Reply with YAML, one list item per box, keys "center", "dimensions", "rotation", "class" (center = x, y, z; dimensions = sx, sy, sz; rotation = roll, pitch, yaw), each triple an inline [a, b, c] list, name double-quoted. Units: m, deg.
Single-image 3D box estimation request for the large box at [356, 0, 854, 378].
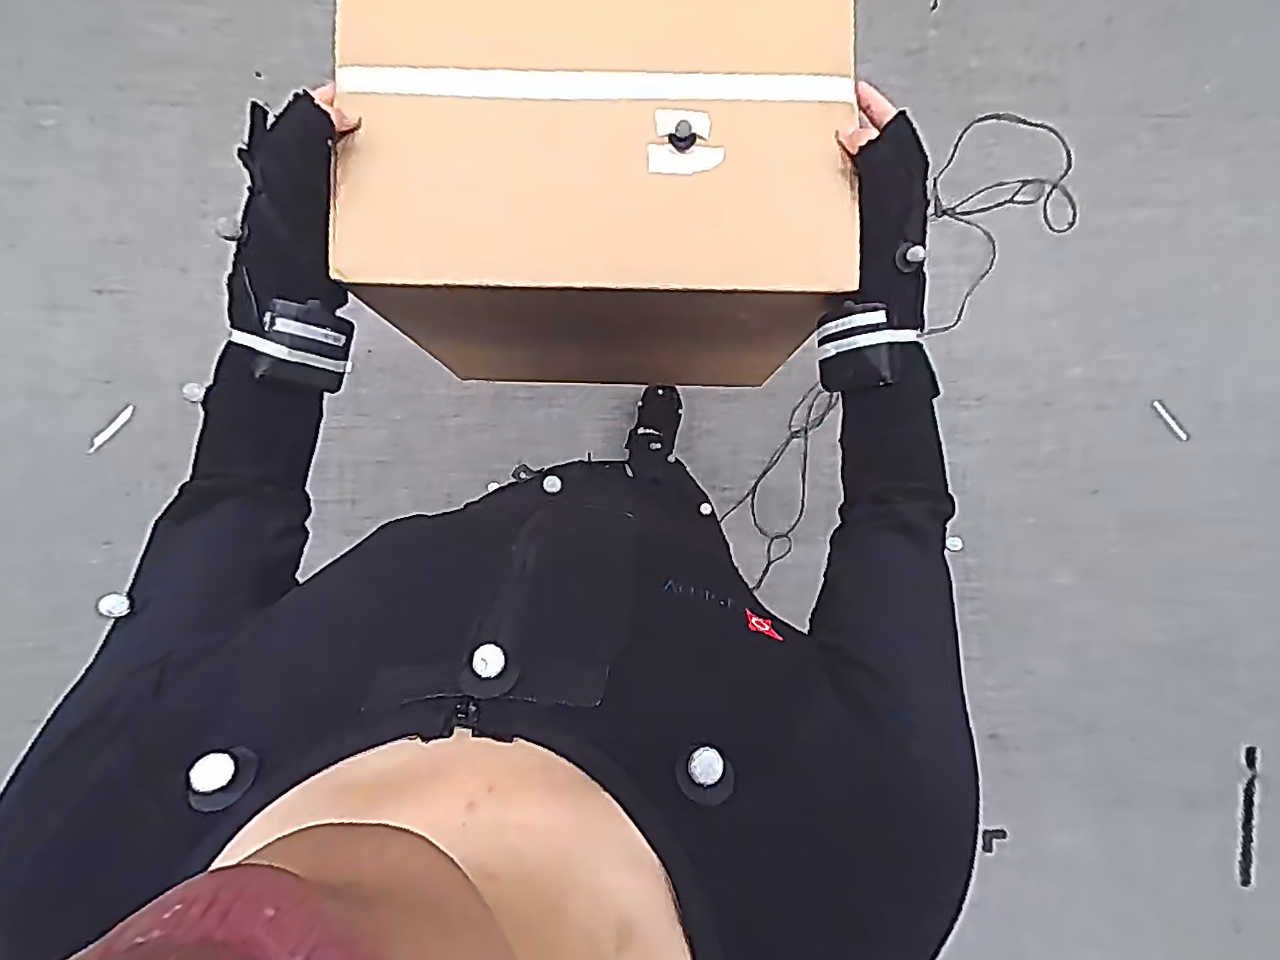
- center: [-0.031, -0.302, 0.589]
  dimensions: [0.408, 0.320, 0.320]
  rotation: [1, 86, -1]
  class: "large box"
